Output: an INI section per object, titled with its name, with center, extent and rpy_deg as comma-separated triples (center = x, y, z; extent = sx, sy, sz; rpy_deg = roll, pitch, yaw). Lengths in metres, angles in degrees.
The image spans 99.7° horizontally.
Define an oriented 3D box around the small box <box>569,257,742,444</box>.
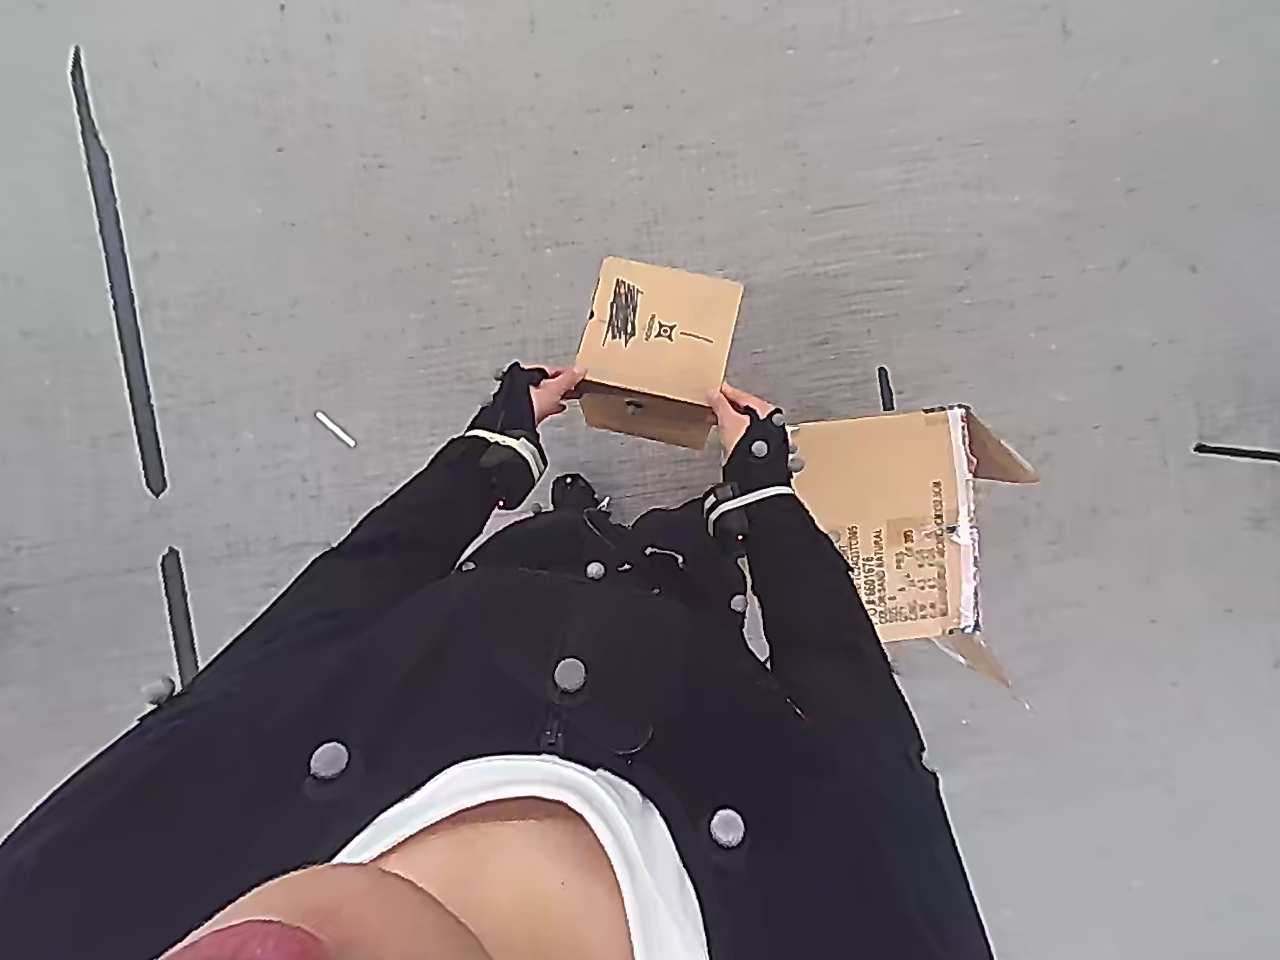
[small box]
center = 0.021, -0.159, 0.713
extent = 0.179, 0.176, 0.168
rpy_deg = 13, 77, 4
